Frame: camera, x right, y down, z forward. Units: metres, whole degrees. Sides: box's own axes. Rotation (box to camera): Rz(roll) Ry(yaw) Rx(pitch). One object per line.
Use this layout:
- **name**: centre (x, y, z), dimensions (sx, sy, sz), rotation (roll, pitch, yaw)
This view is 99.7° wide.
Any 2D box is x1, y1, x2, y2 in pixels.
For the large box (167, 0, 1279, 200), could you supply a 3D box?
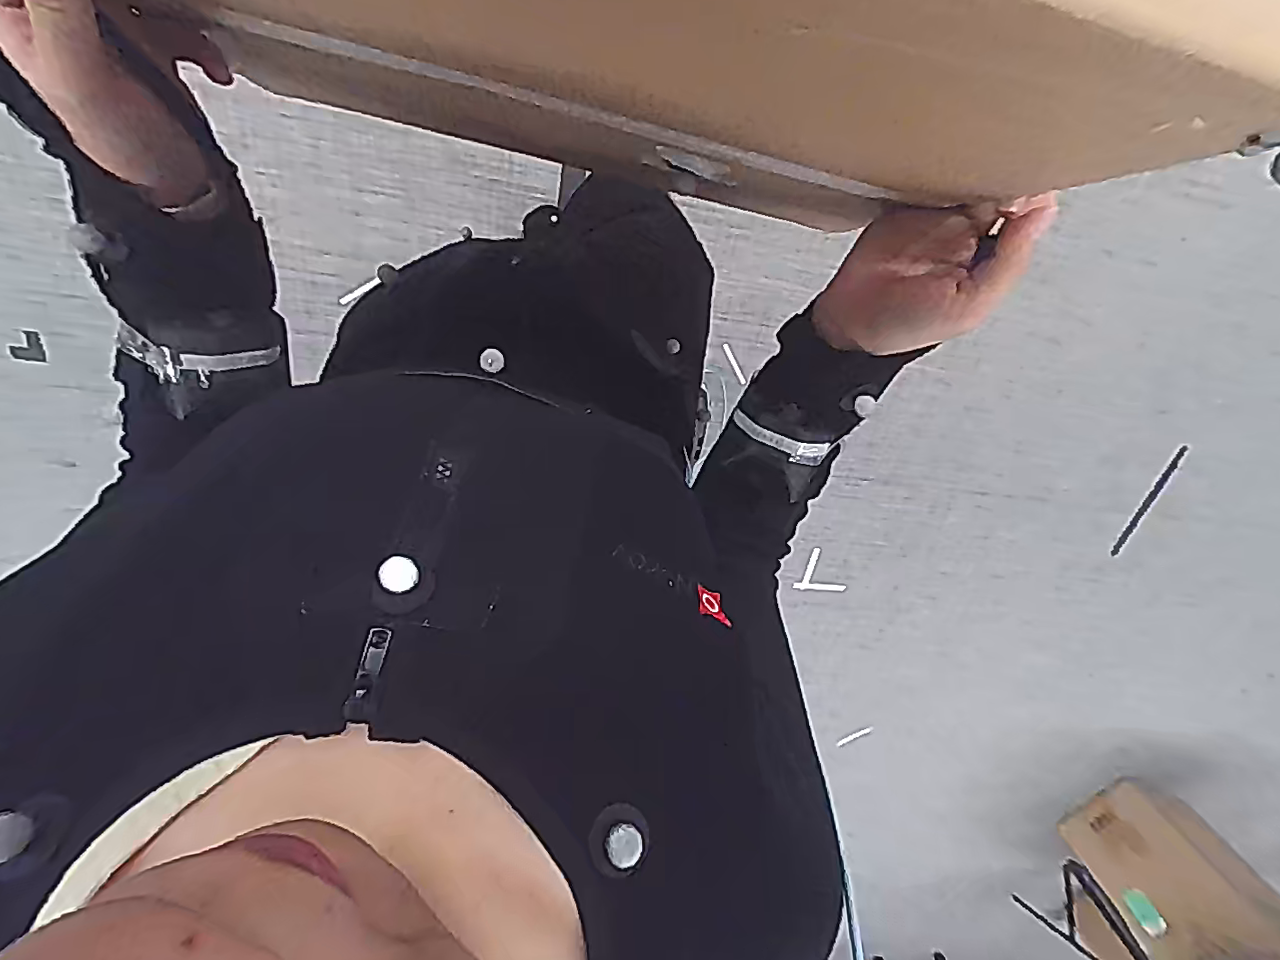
- **large box**: centre (0.000, -0.325, 0.185), dimensions (0.408, 0.320, 0.320), rotation (8, 110, -9)
